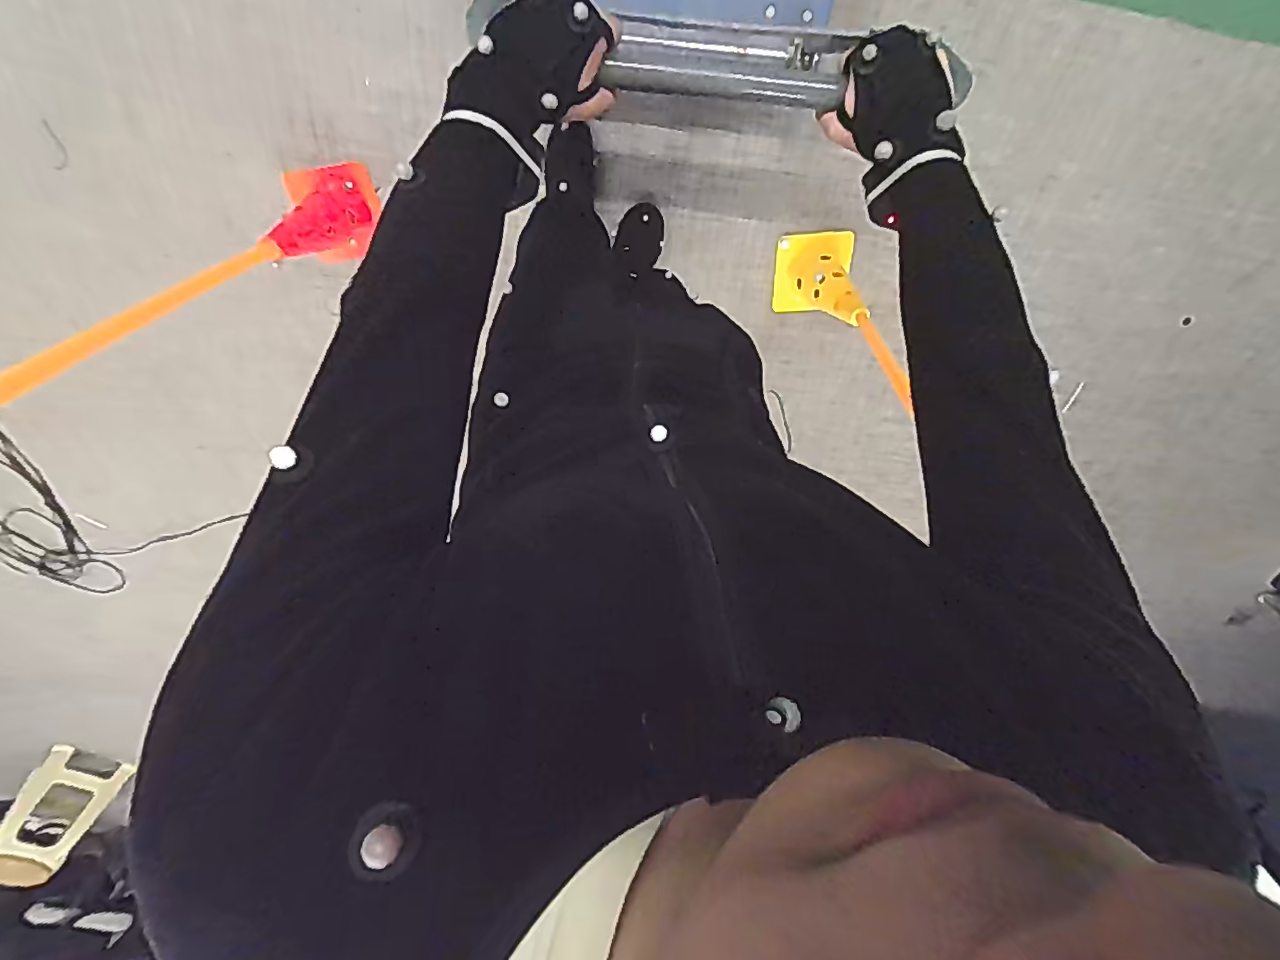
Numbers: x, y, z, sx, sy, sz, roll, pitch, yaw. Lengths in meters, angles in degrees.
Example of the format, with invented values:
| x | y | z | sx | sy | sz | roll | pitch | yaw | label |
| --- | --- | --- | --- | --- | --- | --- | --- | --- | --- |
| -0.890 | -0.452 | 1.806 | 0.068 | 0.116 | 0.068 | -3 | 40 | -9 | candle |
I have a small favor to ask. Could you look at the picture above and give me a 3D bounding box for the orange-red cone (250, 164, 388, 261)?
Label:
| x | y | z | sx | sy | sz | roll | pitch | yaw | label |
| --- | --- | --- | --- | --- | --- | --- | --- | --- | --- |
| -0.715 | -0.531 | 1.146 | 0.199 | 0.360 | 0.198 | -7 | 126 | 3 | orange-red cone |
